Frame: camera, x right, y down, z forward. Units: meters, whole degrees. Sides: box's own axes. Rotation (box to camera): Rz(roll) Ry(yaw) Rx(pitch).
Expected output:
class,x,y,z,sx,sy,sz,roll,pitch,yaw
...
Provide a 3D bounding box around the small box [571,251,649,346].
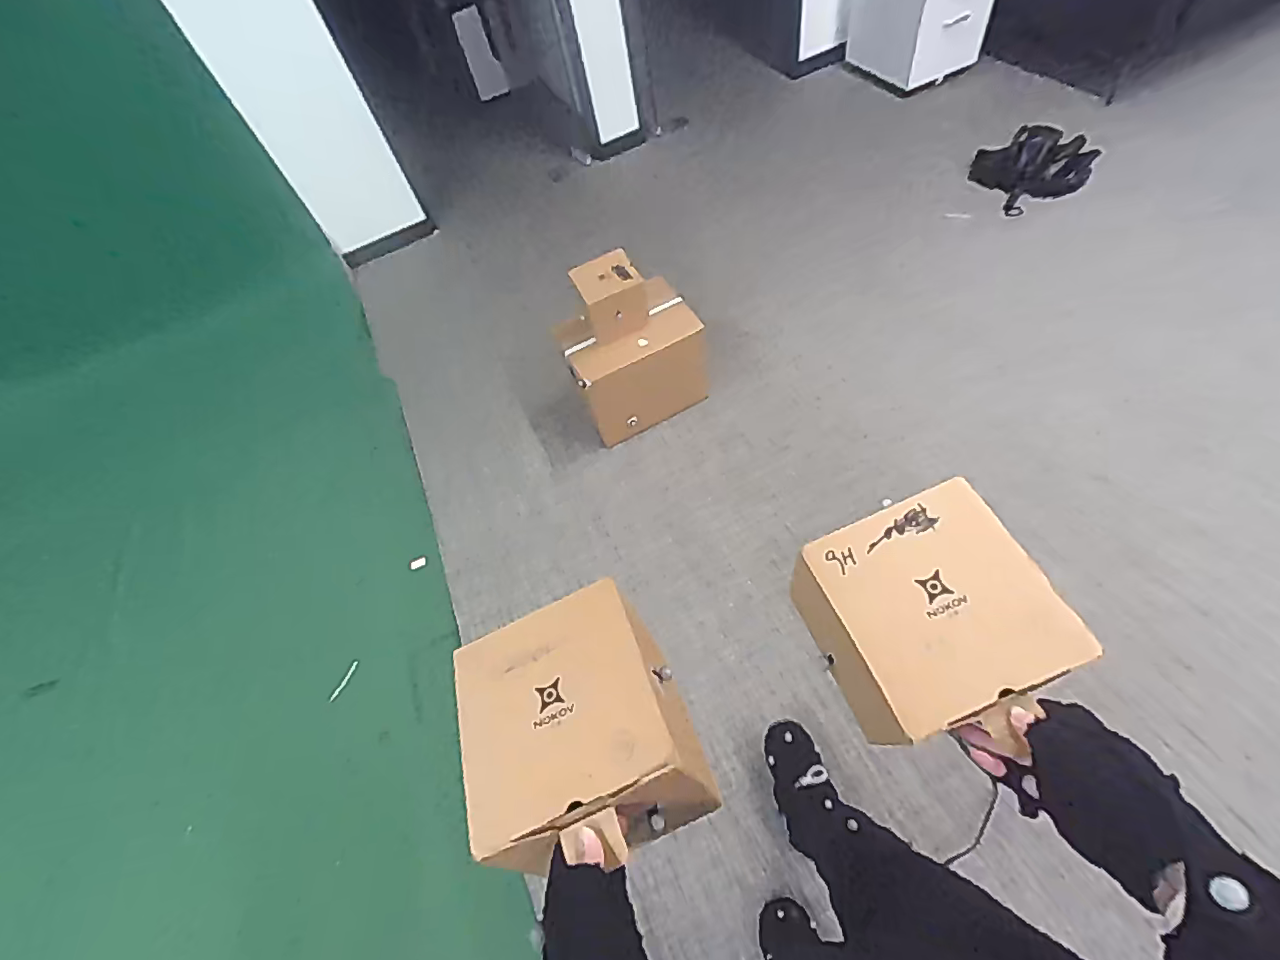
class,x,y,z,sx,sy,sz,roll,pitch,yaw
small box,-0.082,-0.534,1.608,0.179,0.176,0.168,-28,62,-7

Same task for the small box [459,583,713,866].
class,x,y,z,sx,sy,sz,roll,pitch,yaw
small box,-0.048,0.237,0.513,0.168,0.176,0.179,-26,45,0
